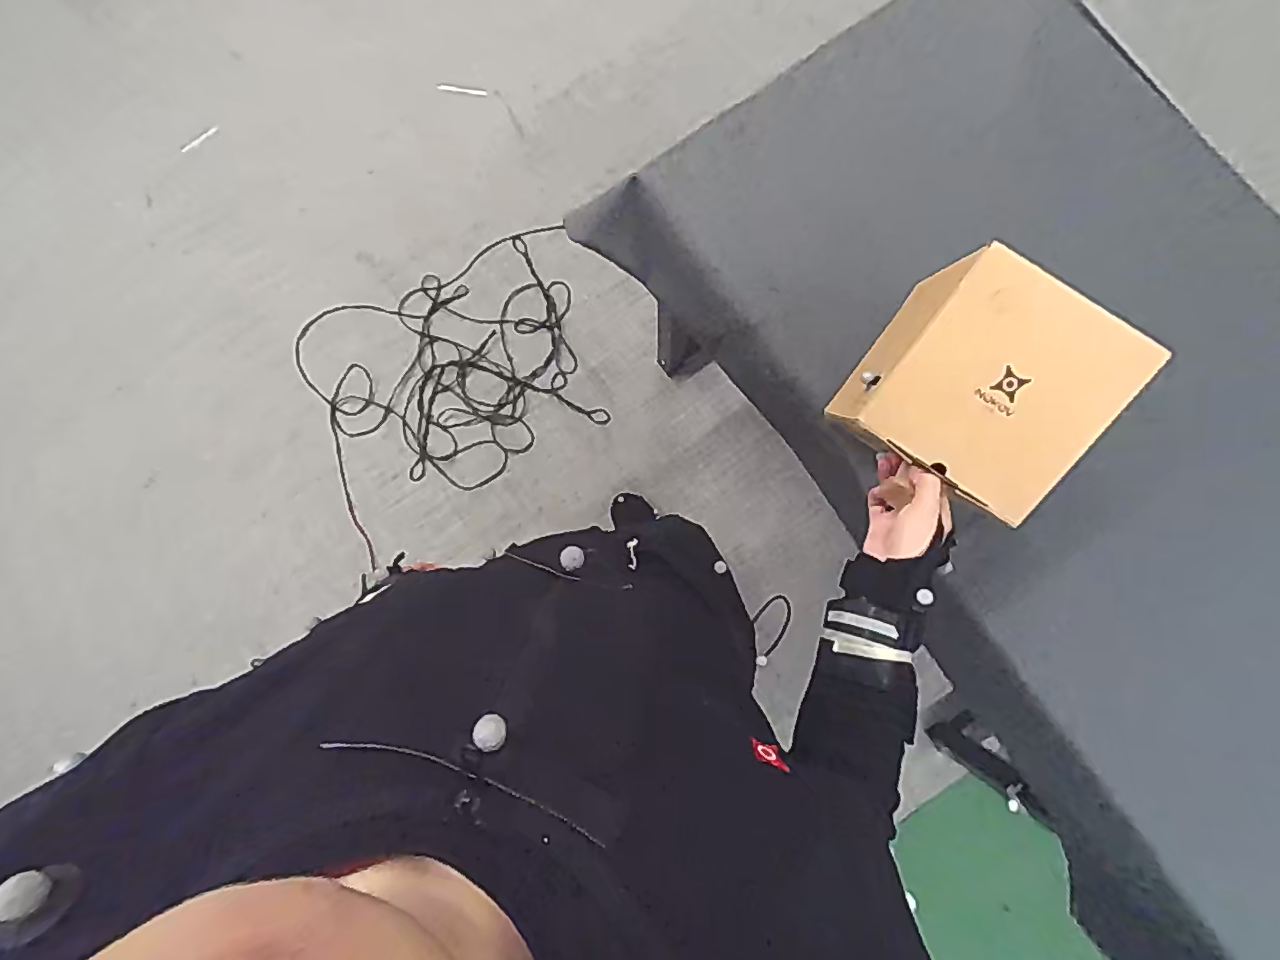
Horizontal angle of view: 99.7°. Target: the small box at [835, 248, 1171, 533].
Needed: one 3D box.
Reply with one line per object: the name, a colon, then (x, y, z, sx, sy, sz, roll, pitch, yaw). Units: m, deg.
small box: (0.312, -0.084, 0.518, 0.168, 0.176, 0.179, 34, 105, 1)
